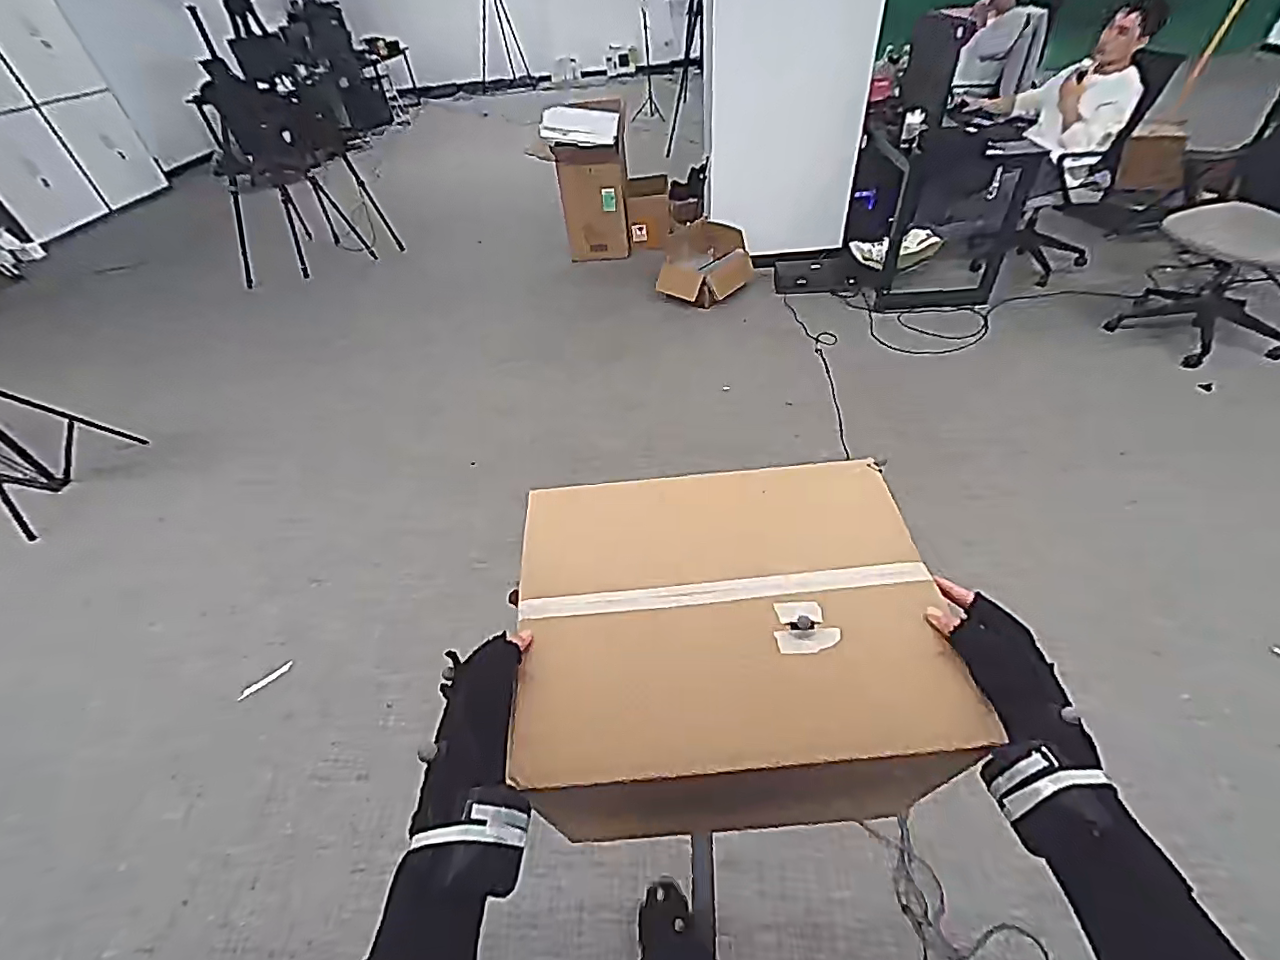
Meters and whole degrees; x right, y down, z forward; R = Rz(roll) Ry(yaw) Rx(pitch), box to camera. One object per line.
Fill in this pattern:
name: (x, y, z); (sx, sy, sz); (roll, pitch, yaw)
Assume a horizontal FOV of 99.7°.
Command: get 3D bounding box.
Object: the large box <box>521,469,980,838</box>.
large box: (0.091, 0.218, 0.665); (0.408, 0.320, 0.320); (-5, 50, 0)
